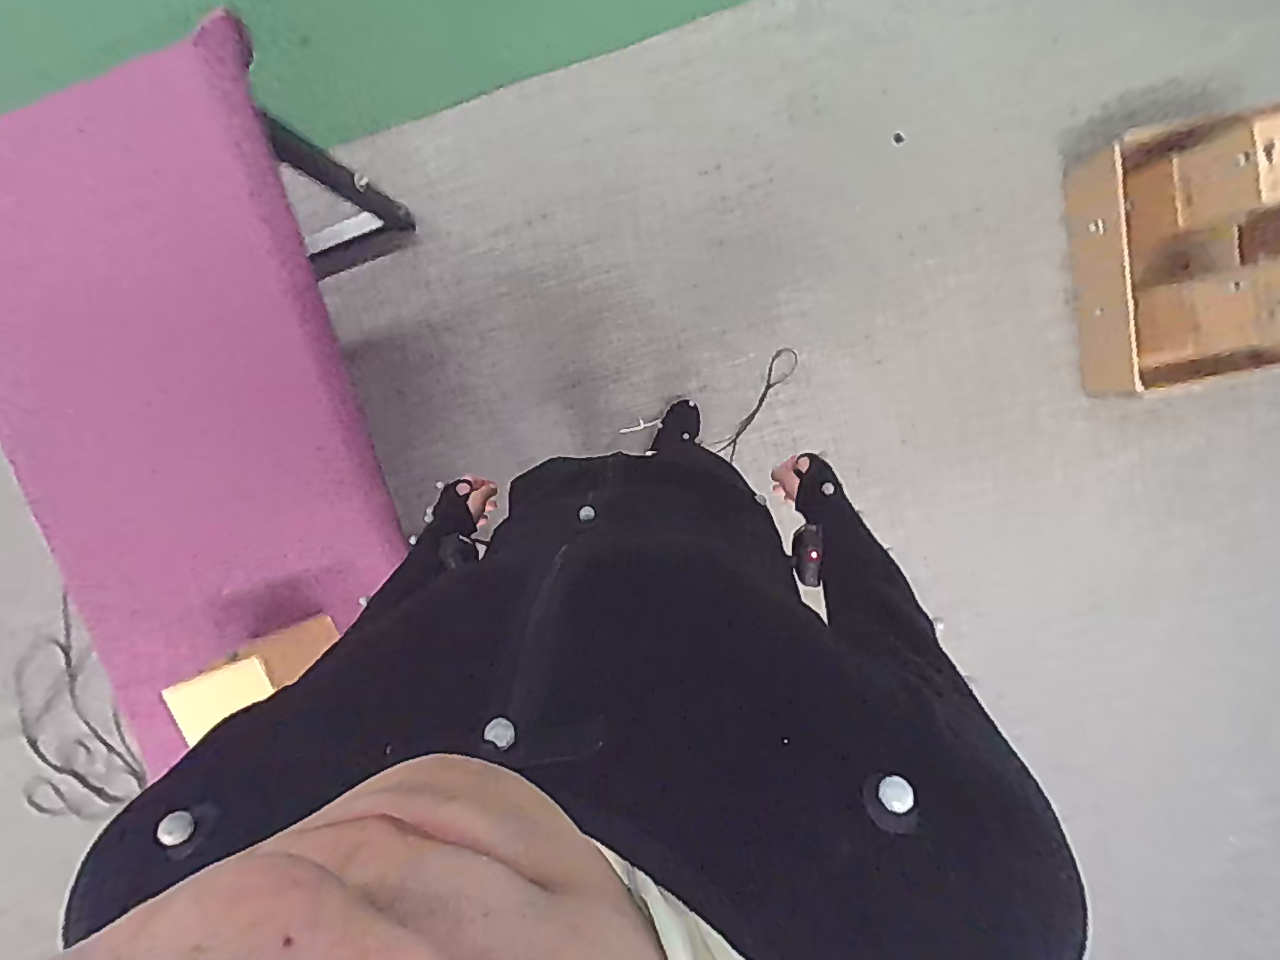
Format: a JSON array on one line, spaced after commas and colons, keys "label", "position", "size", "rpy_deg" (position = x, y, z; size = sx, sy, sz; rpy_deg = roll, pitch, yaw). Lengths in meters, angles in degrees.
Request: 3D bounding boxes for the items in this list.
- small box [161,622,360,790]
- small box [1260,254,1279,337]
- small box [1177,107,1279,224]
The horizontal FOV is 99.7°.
[{"label": "small box", "position": [-0.611, 0.361, 0.893], "size": [0.179, 0.176, 0.168], "rpy_deg": [-22, 96, 6]}, {"label": "small box", "position": [1.343, -0.376, 1.007], "size": [0.179, 0.176, 0.168], "rpy_deg": [-15, 96, 5]}, {"label": "small box", "position": [1.302, -0.666, 1.135], "size": [0.179, 0.176, 0.168], "rpy_deg": [-14, 96, 4]}]
